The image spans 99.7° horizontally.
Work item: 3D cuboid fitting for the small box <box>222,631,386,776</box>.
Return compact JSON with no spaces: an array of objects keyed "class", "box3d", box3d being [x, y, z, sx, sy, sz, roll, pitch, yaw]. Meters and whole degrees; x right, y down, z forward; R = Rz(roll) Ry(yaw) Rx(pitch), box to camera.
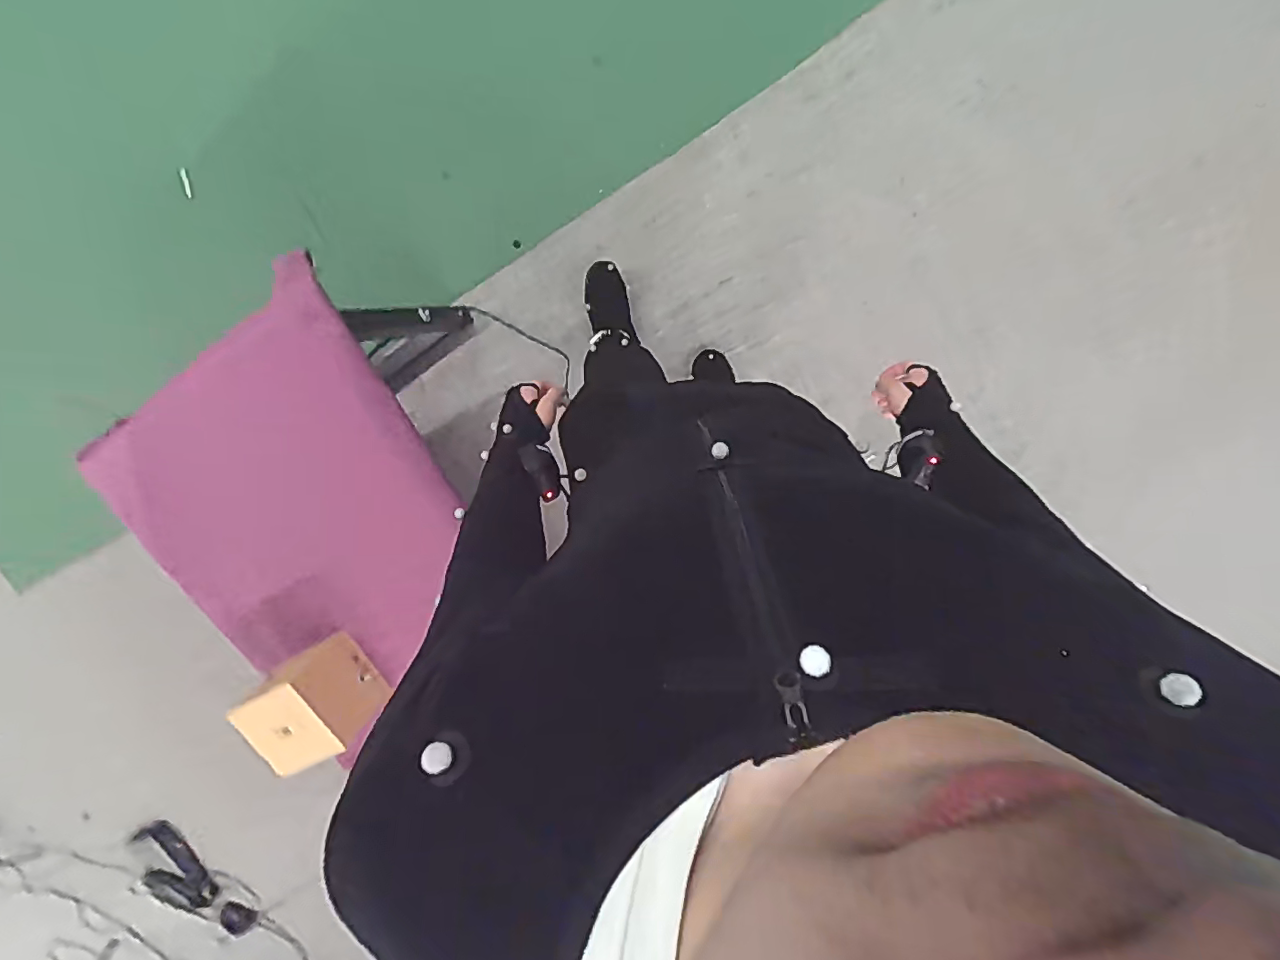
[{"class":"small box","box3d":[-0.645,0.432,1.061,0.179,0.176,0.168,-27,103,14]}]
